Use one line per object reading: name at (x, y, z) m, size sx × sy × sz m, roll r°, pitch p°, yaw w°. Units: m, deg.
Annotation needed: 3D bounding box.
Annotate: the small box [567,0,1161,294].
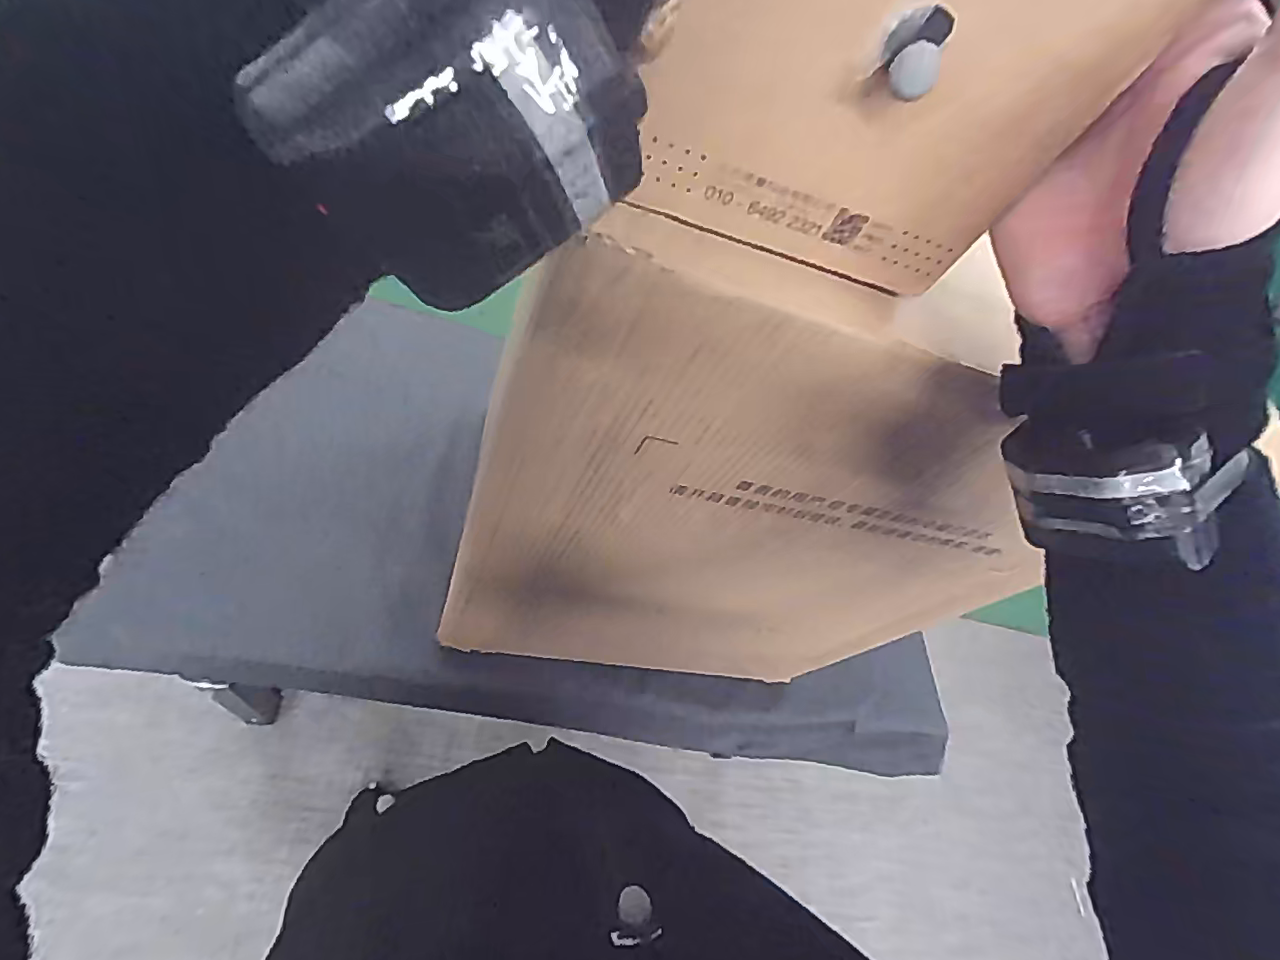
small box at (0.071, -0.202, 0.207) m, size 0.168 × 0.176 × 0.179 m, roll 8°, pitch 57°, yaw -17°
